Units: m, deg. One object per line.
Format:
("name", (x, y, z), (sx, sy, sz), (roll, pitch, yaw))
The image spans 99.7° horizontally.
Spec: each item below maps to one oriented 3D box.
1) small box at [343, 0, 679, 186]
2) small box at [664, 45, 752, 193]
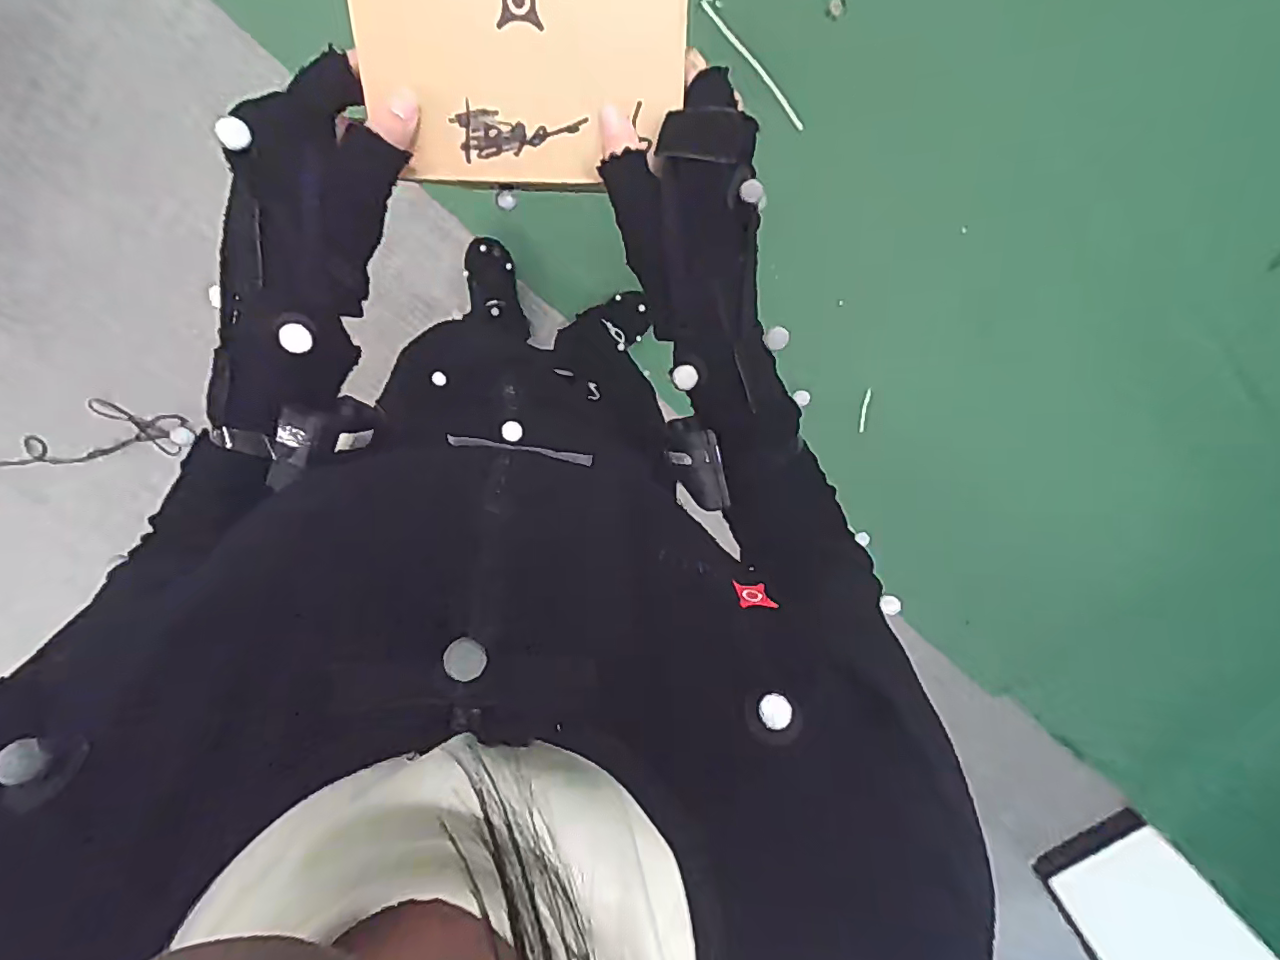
("small box", (-0.068, -0.285, 0.331), (0.168, 0.176, 0.179), (0, 118, -4))
("small box", (0.096, -0.718, 1.099), (0.168, 0.176, 0.179), (42, 108, -17))
